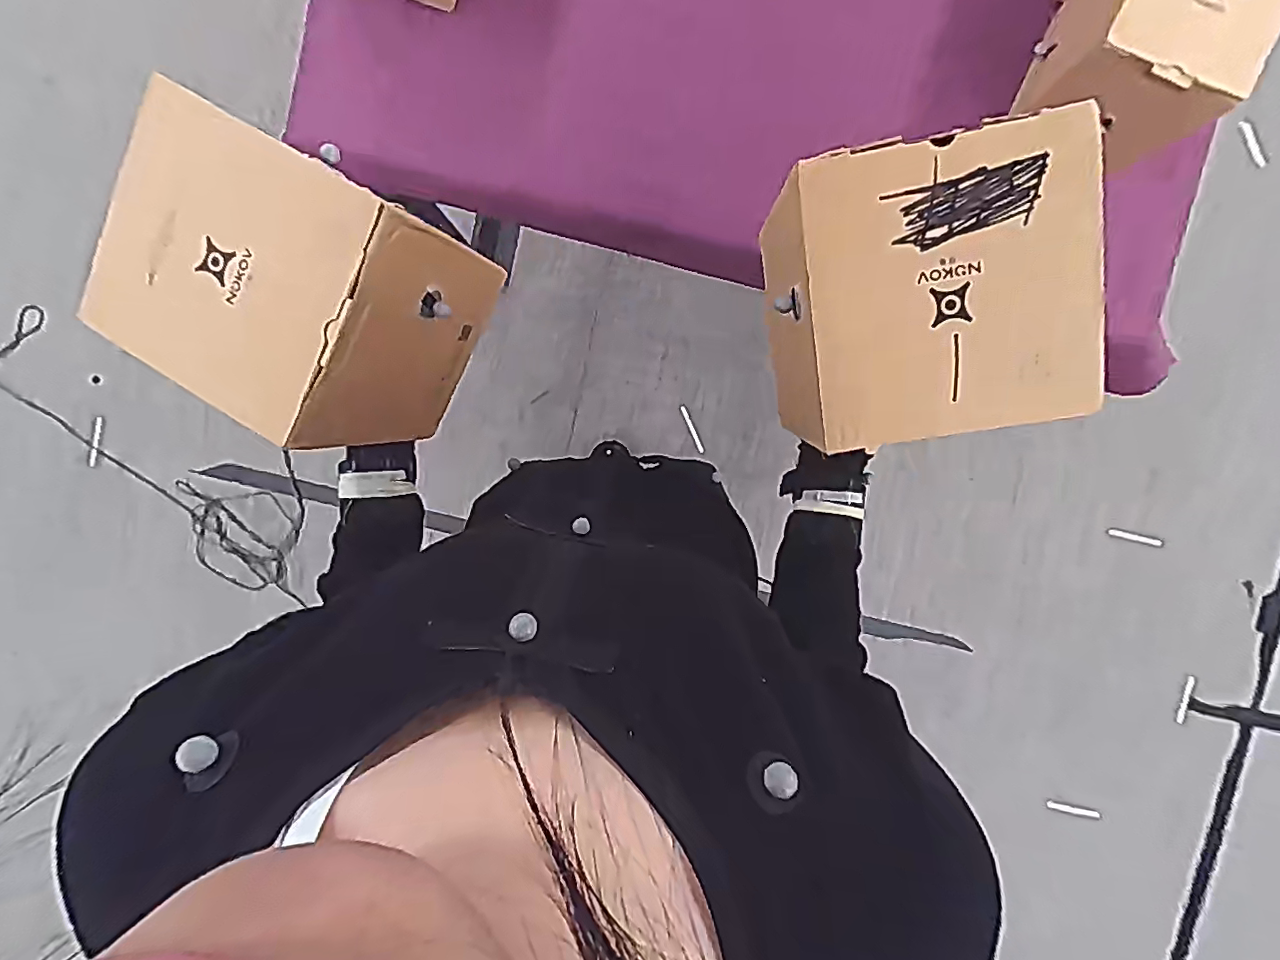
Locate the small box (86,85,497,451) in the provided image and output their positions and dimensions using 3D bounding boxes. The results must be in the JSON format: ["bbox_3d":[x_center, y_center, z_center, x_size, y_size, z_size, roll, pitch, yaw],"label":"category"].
[{"bbox_3d":[-0.240,-0.139,0.413,0.179,0.176,0.168,30,100,6],"label":"small box"}]

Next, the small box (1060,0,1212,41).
[{"bbox_3d":[0.651,-0.691,0.643,0.168,0.176,0.179,17,92,-2],"label":"small box"}]

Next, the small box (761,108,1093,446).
[{"bbox_3d":[0.190,-0.131,0.404,0.168,0.176,0.179,-8,101,7],"label":"small box"}]
